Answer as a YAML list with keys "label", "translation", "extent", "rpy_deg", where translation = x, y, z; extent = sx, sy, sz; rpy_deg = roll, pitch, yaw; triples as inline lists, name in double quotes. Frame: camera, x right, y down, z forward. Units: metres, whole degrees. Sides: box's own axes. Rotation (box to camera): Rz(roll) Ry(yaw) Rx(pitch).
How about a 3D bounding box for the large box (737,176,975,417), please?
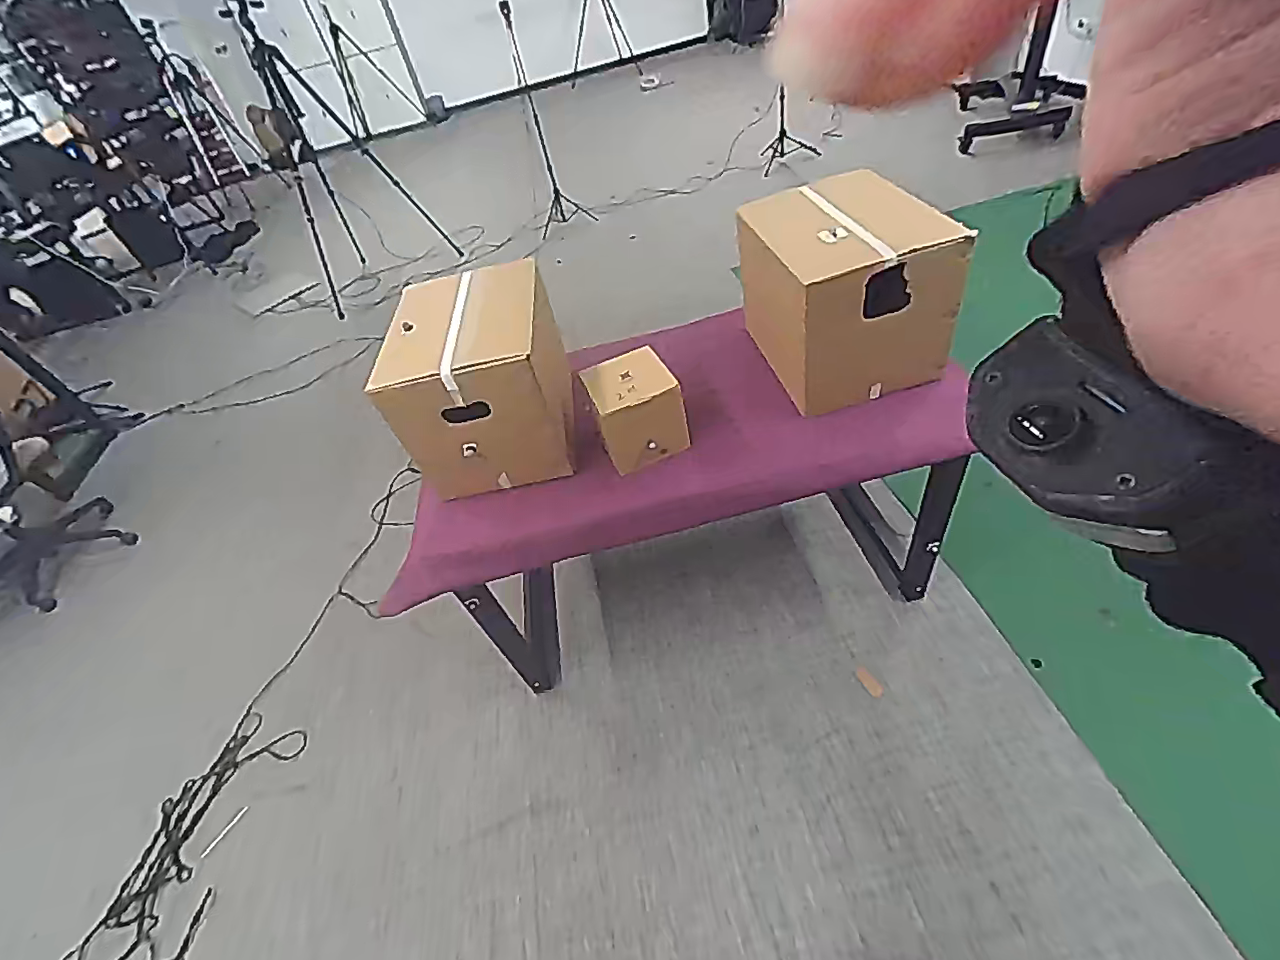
- label: "large box"
  translation: [0.430, -0.406, 1.185]
  extent: [0.320, 0.320, 0.408]
  rpy_deg: [-17, 46, 2]
